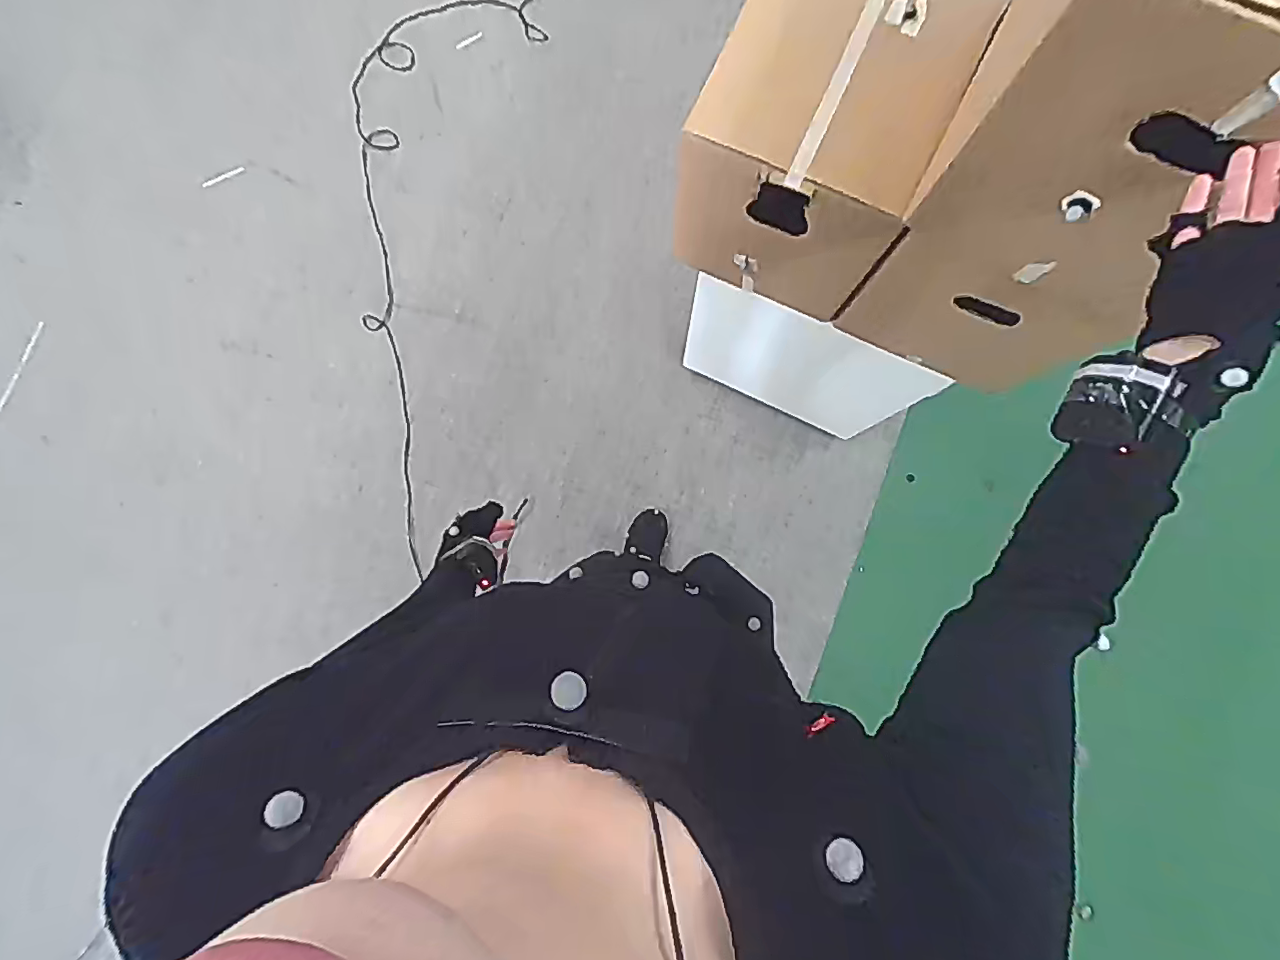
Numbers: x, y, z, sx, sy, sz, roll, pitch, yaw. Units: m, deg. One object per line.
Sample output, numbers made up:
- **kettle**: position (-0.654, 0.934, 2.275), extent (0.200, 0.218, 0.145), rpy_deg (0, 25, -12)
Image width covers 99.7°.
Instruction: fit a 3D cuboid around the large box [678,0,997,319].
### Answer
- **large box**: position (0.276, -0.539, 0.851), extent (0.320, 0.320, 0.408), rpy_deg (25, 83, 4)
